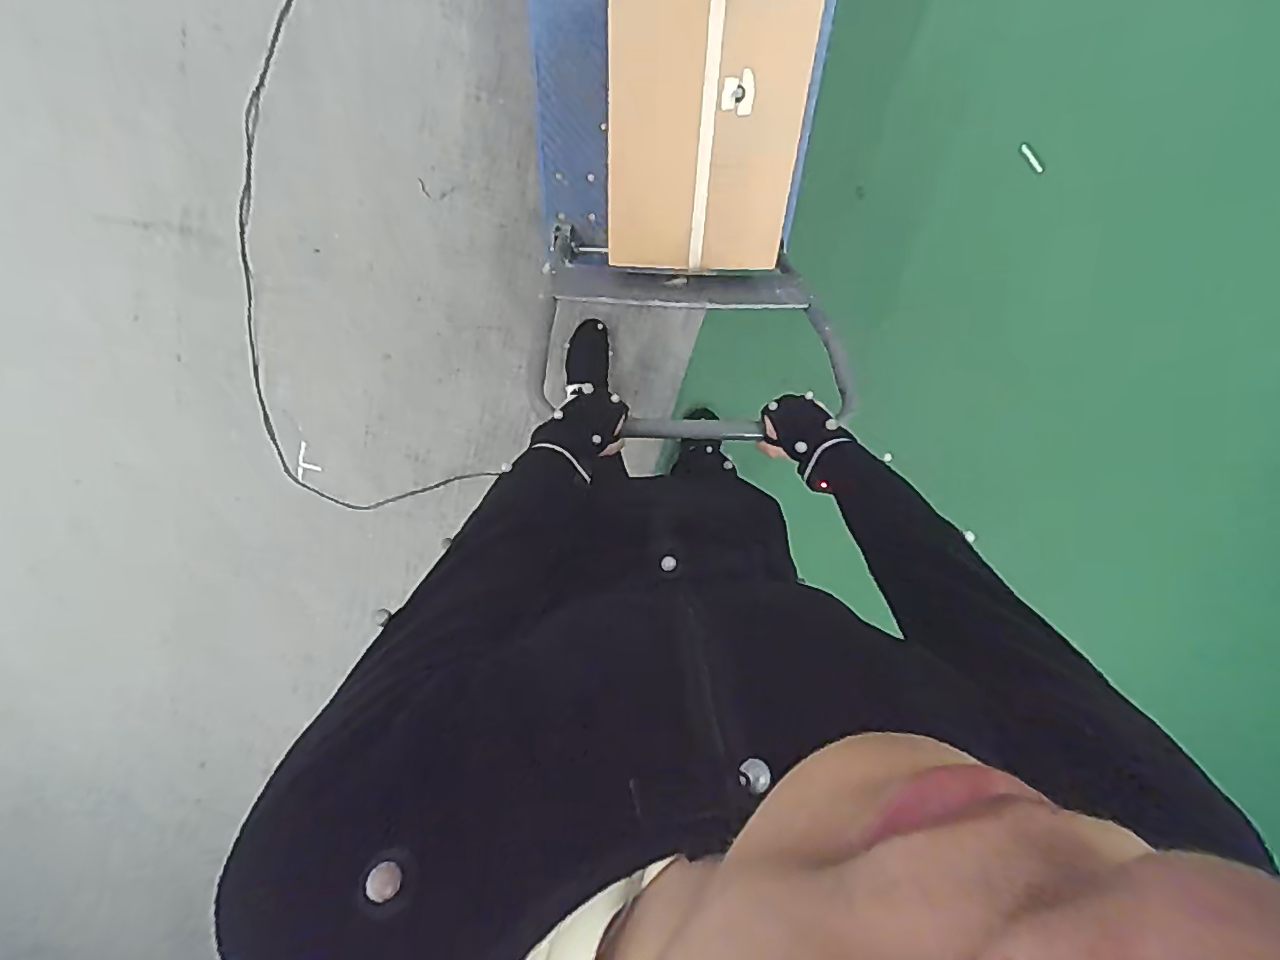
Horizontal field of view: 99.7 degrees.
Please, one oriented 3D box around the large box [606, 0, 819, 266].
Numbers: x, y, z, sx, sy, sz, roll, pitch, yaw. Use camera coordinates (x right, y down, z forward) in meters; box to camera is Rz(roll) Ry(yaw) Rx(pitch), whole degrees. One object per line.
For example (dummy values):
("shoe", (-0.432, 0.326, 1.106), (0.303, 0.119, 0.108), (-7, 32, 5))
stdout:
("large box", (0.101, -0.645, 1.001), (0.320, 0.320, 0.408), (0, 128, -2))
